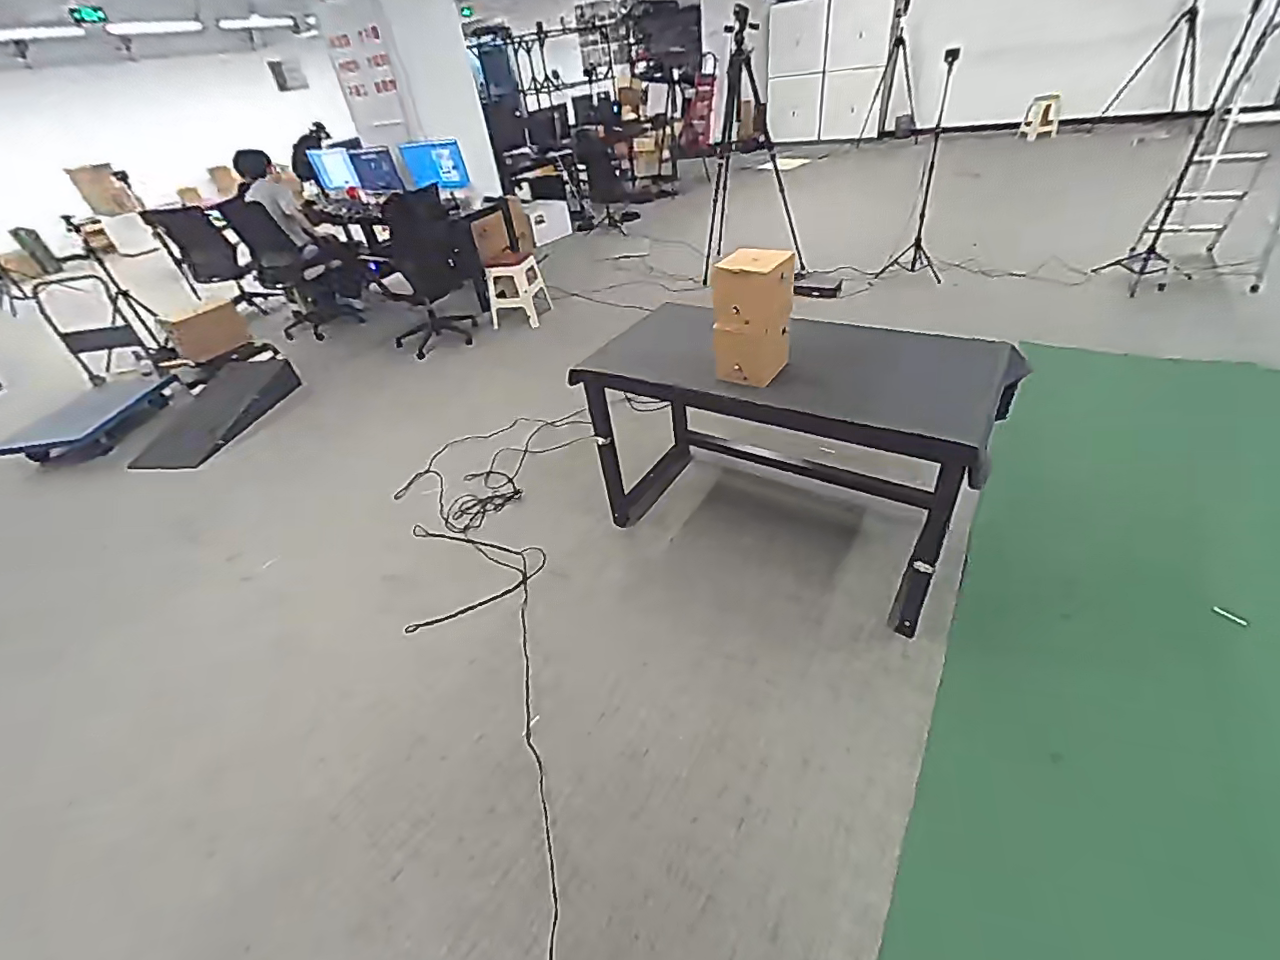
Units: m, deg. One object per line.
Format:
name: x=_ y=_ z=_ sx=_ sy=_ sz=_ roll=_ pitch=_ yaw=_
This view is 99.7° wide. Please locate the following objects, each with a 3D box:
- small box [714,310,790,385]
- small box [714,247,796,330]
small box: x=0.332 y=-0.404 z=1.606 sx=0.168 sy=0.176 sz=0.179 roll=18 pitch=44 yaw=31
small box: x=0.319 y=-0.536 z=1.512 sx=0.168 sy=0.176 sz=0.179 roll=19 pitch=45 yaw=31
